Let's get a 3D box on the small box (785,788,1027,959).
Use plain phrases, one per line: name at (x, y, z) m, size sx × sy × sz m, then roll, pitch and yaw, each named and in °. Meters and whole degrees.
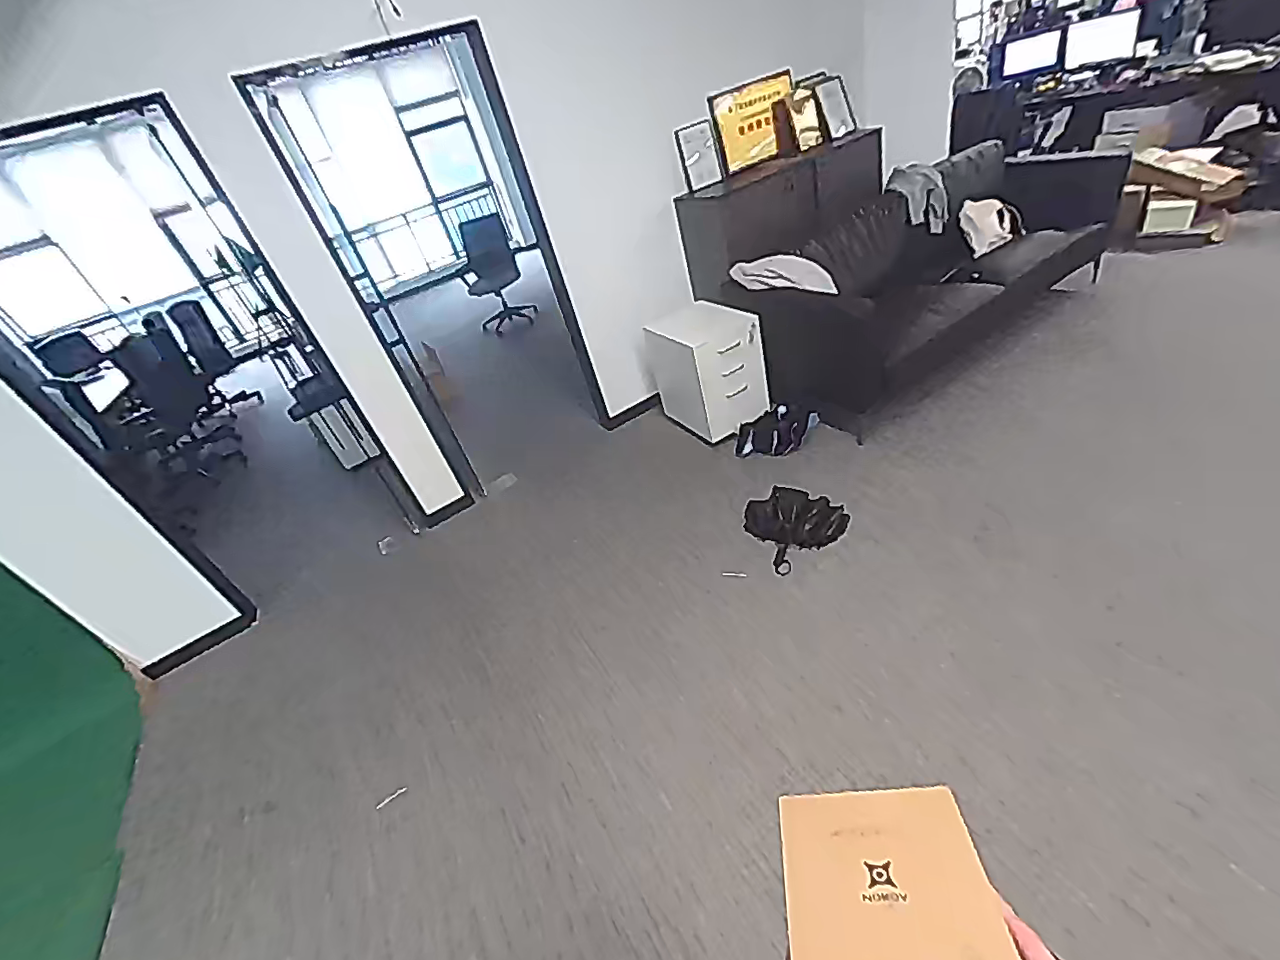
small box at (0.232, 0.415, 0.480) m, size 0.168 × 0.176 × 0.179 m, roll -11°, pitch 15°, yaw 14°
